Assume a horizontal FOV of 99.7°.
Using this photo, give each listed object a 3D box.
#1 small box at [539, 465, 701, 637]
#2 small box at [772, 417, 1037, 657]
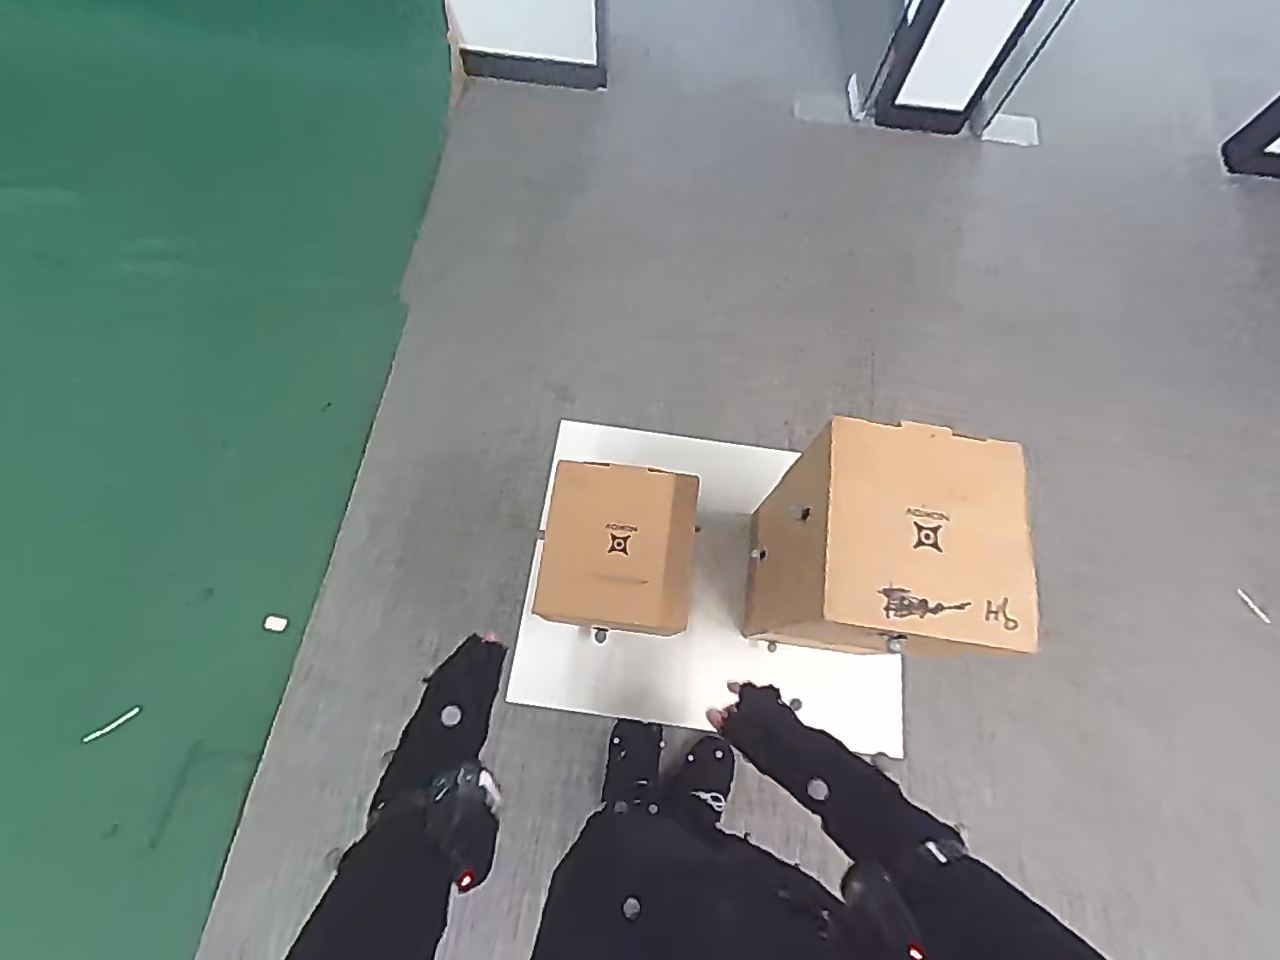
[{"bbox_3d":[-0.021,0.096,0.671,0.168,0.176,0.179,5,73,1],"label":"small box"},{"bbox_3d":[0.229,0.064,0.512,0.168,0.176,0.179,8,71,2],"label":"small box"}]
